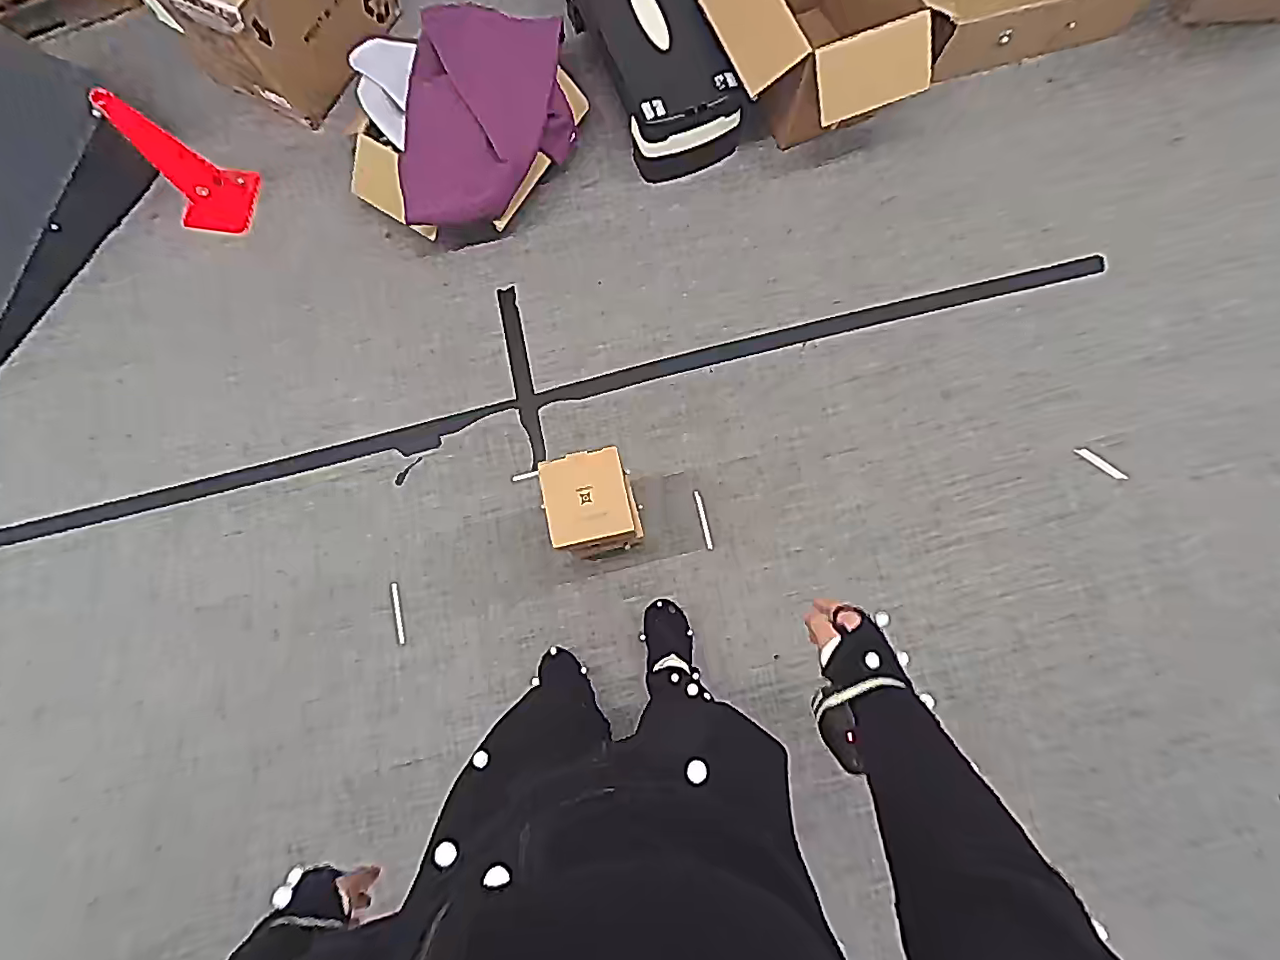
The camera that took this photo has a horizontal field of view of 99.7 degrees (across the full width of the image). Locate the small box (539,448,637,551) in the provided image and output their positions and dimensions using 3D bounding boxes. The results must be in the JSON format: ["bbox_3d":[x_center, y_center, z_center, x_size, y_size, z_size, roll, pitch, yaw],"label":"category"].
[{"bbox_3d":[-0.104,0.048,1.146,0.168,0.176,0.179,-13,81,0],"label":"small box"}]

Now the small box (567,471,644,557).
[{"bbox_3d":[-0.093,0.087,1.304,0.179,0.176,0.168,-14,80,-1],"label":"small box"}]
